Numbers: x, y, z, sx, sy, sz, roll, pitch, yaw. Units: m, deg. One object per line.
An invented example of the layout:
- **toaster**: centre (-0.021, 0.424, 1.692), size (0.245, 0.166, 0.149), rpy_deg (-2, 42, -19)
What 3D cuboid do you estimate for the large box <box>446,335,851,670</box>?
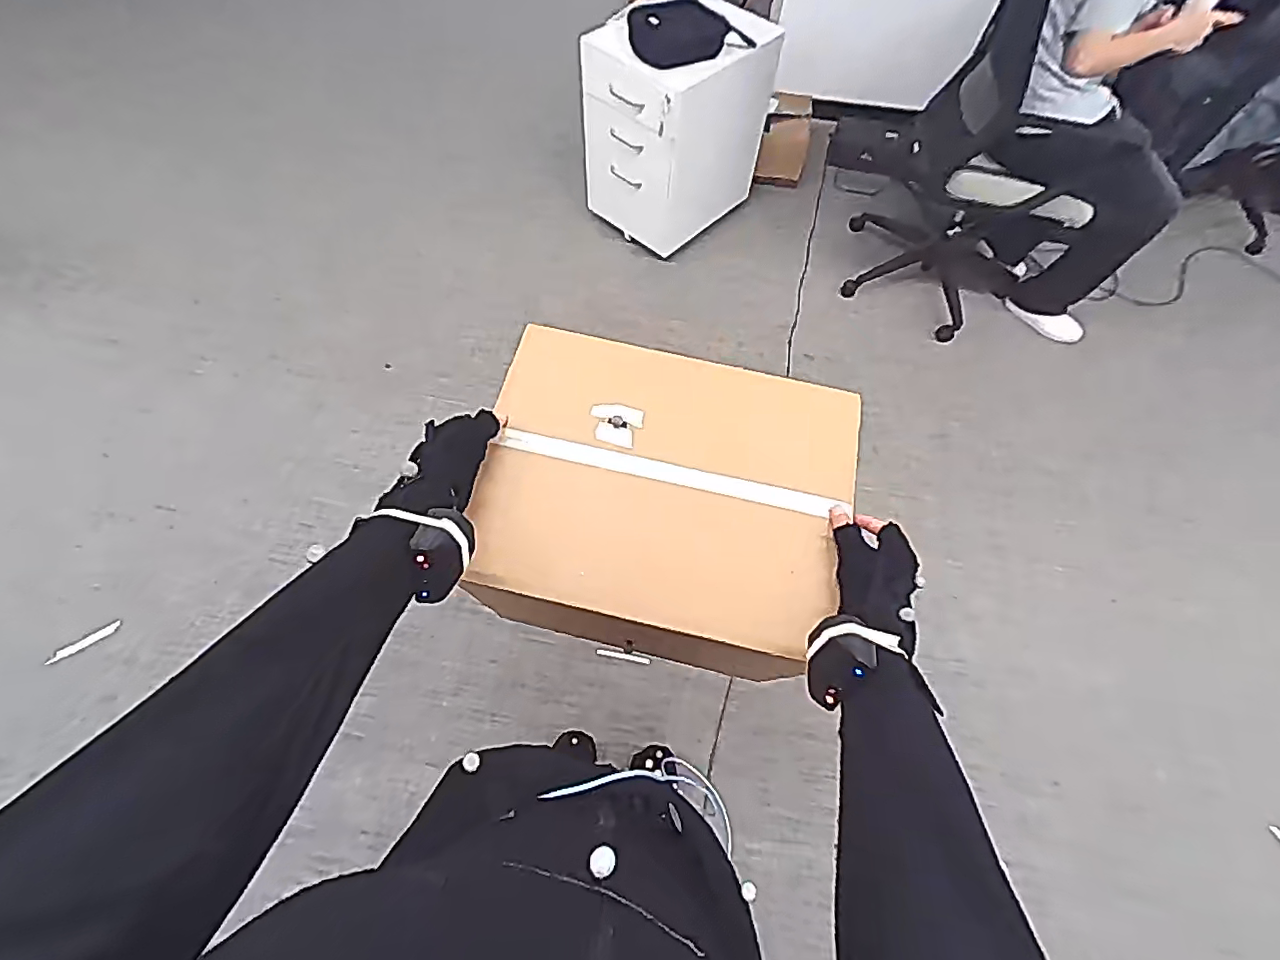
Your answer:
- **large box**: centre (0.024, 0.054, 0.733), size (0.408, 0.320, 0.320), rpy_deg (13, 67, 4)
